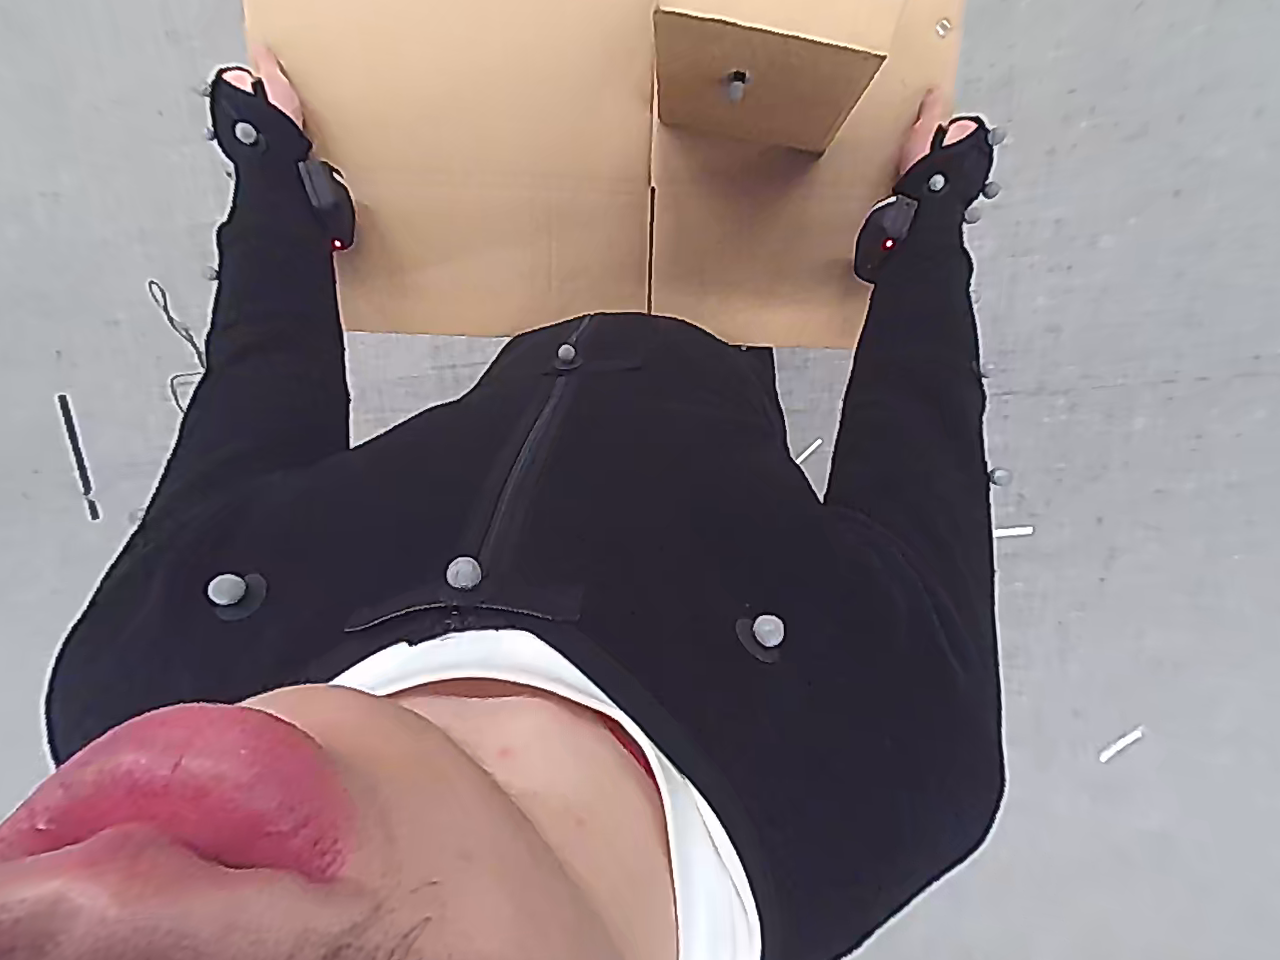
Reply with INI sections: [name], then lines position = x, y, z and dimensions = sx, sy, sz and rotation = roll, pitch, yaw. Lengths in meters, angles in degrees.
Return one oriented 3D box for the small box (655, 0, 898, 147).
[small box]
position = 0.118, -0.419, 0.465
dimensions = 0.179, 0.176, 0.168
rotation = 12, 101, 2
